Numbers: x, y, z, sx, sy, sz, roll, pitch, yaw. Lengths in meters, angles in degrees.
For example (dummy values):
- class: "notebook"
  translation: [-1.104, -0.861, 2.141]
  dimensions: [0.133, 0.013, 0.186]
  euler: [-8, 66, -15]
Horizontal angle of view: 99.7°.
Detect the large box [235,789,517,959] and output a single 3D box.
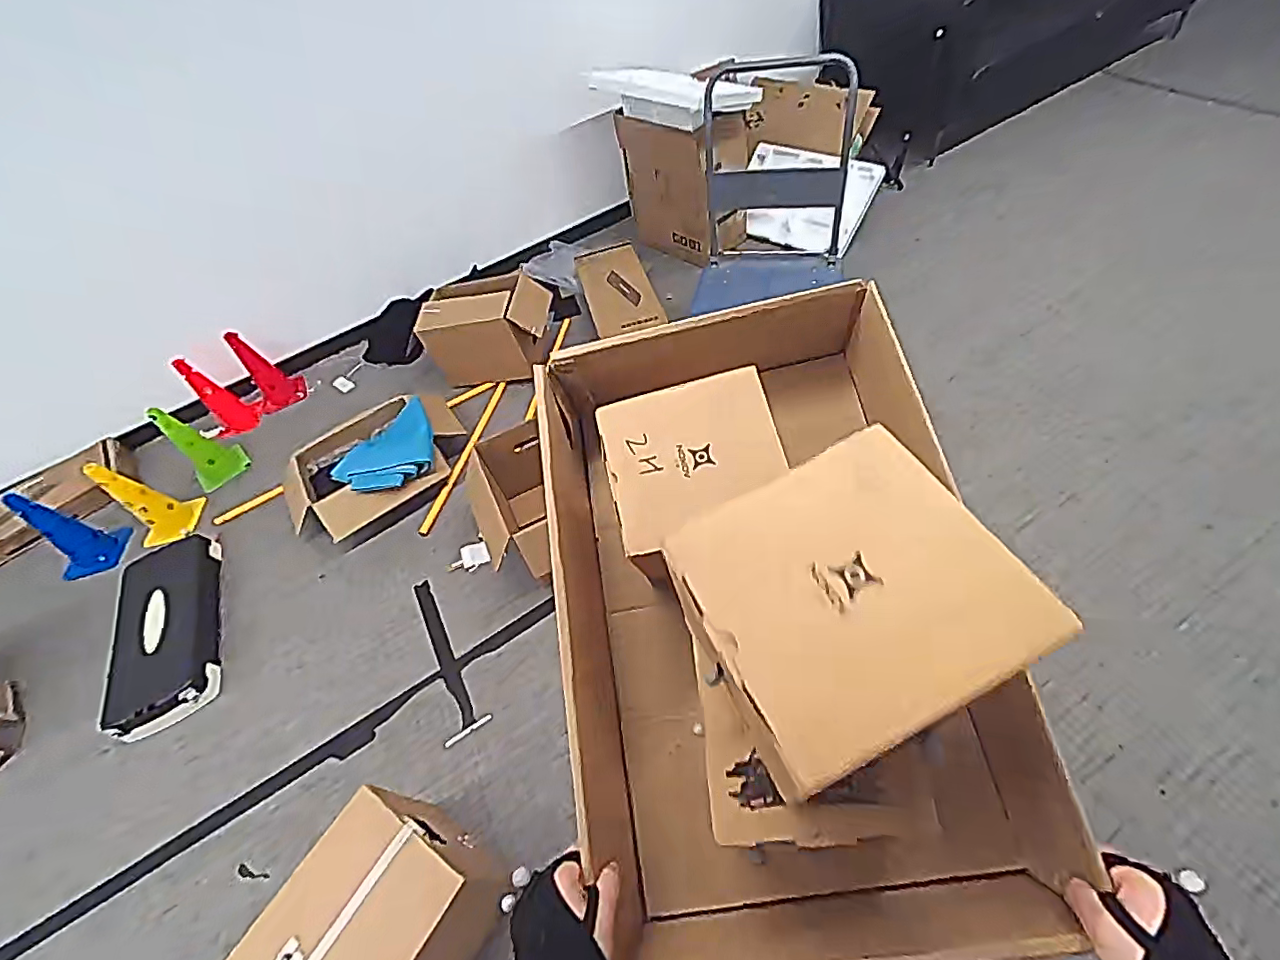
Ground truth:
- class: "large box"
  translation: [-0.524, 0.924, 1.095]
  dimensions: [0.320, 0.320, 0.408]
  euler: [21, 60, 26]
